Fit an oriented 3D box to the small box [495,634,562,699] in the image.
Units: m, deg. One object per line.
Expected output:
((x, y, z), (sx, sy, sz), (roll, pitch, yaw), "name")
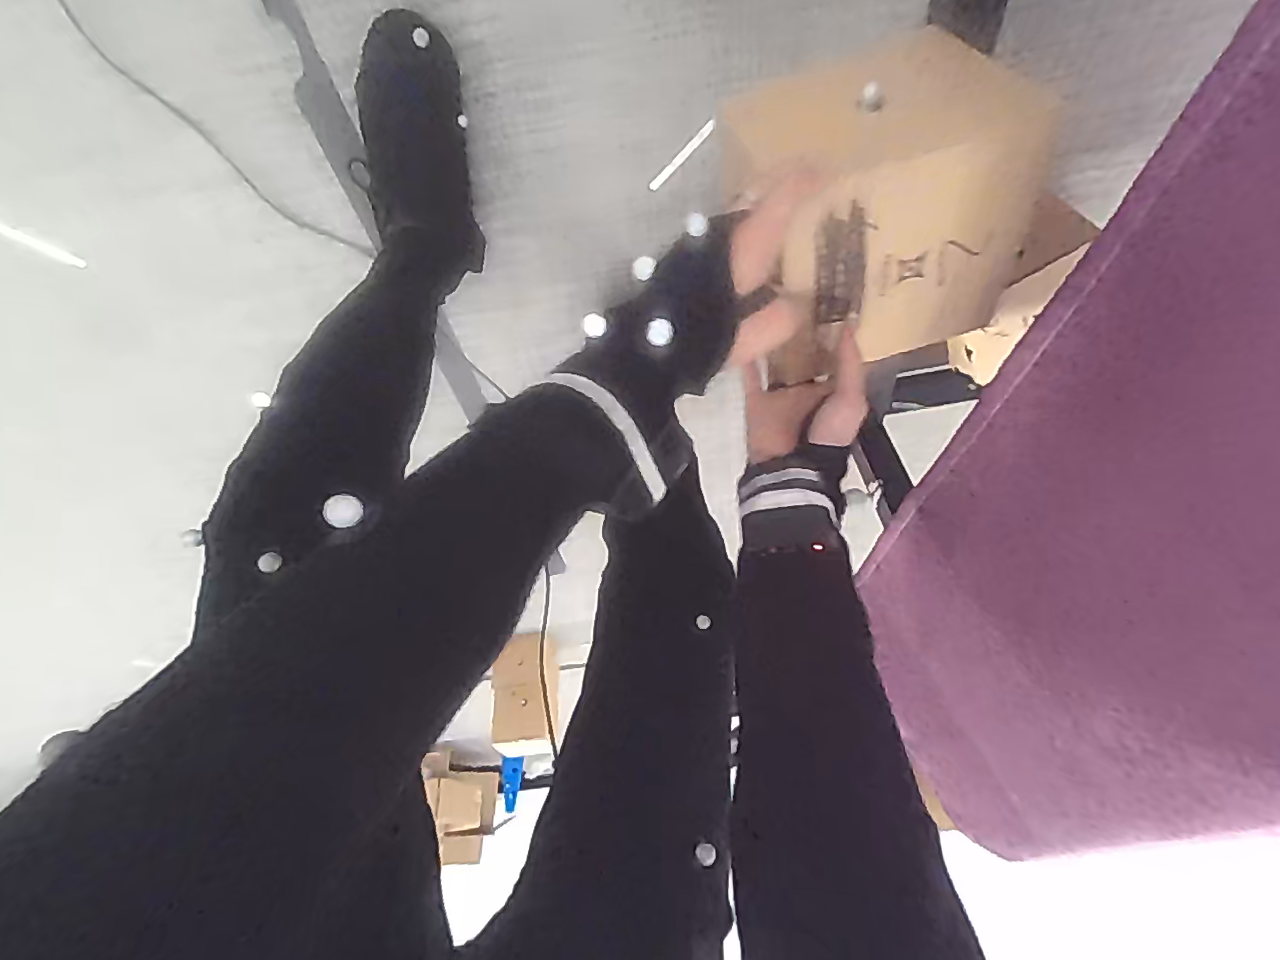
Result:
((-0.366, 0.635, 1.812), (0.179, 0.176, 0.168), (-10, 142, 5), "small box")

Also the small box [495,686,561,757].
((-0.349, 0.769, 1.720), (0.168, 0.176, 0.179), (-7, 141, 3), "small box")
